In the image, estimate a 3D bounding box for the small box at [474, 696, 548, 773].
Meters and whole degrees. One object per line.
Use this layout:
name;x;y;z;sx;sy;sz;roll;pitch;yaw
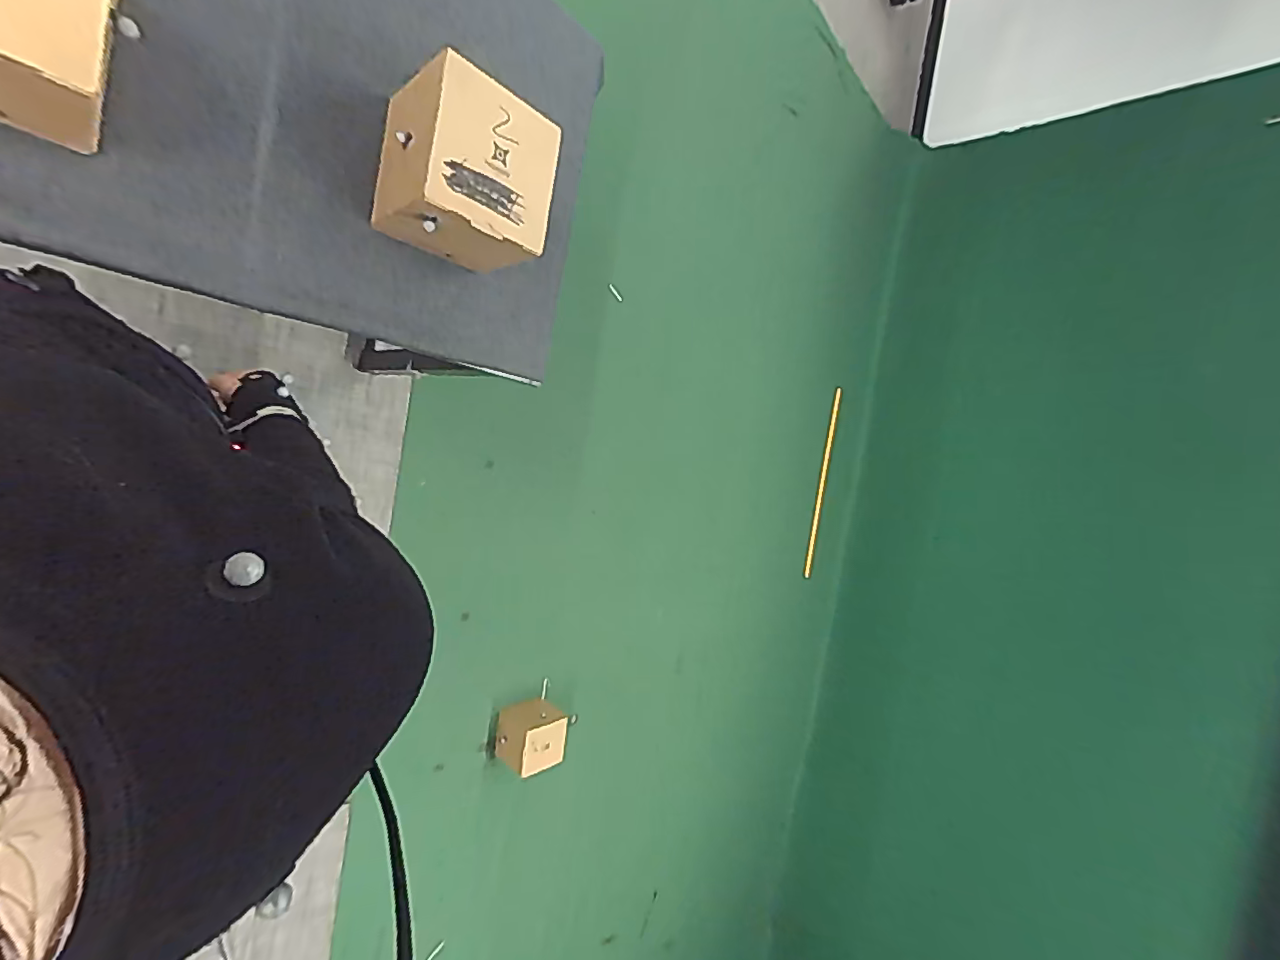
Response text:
small box;-0.452;0.881;1.892;0.179;0.176;0.168;4;96;-48

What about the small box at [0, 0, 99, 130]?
small box;-0.526;-0.411;0.406;0.168;0.176;0.179;8;93;-49
